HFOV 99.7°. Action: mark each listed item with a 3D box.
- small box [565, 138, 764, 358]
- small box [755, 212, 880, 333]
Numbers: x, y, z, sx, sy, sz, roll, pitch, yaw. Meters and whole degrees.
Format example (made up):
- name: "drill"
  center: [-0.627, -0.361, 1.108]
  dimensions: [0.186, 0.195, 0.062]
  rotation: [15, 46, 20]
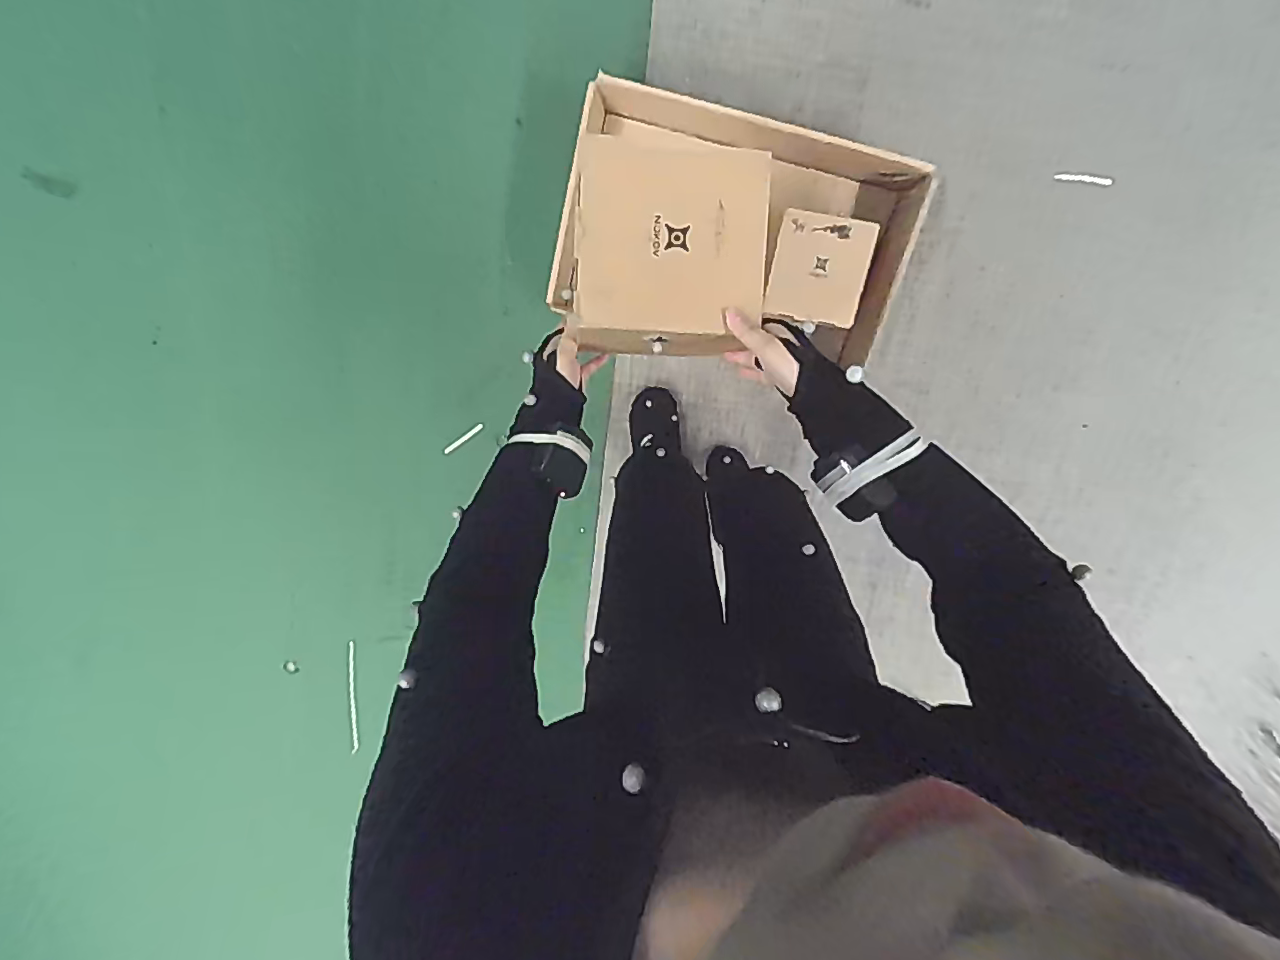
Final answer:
- name: "small box"
  center: [0.016, -0.227, 0.575]
  dimensions: [0.179, 0.176, 0.168]
  rotation: [3, 95, -5]
- name: "small box"
  center: [0.319, -0.381, 1.013]
  dimensions: [0.168, 0.176, 0.179]
  rotation: [11, 107, 1]
